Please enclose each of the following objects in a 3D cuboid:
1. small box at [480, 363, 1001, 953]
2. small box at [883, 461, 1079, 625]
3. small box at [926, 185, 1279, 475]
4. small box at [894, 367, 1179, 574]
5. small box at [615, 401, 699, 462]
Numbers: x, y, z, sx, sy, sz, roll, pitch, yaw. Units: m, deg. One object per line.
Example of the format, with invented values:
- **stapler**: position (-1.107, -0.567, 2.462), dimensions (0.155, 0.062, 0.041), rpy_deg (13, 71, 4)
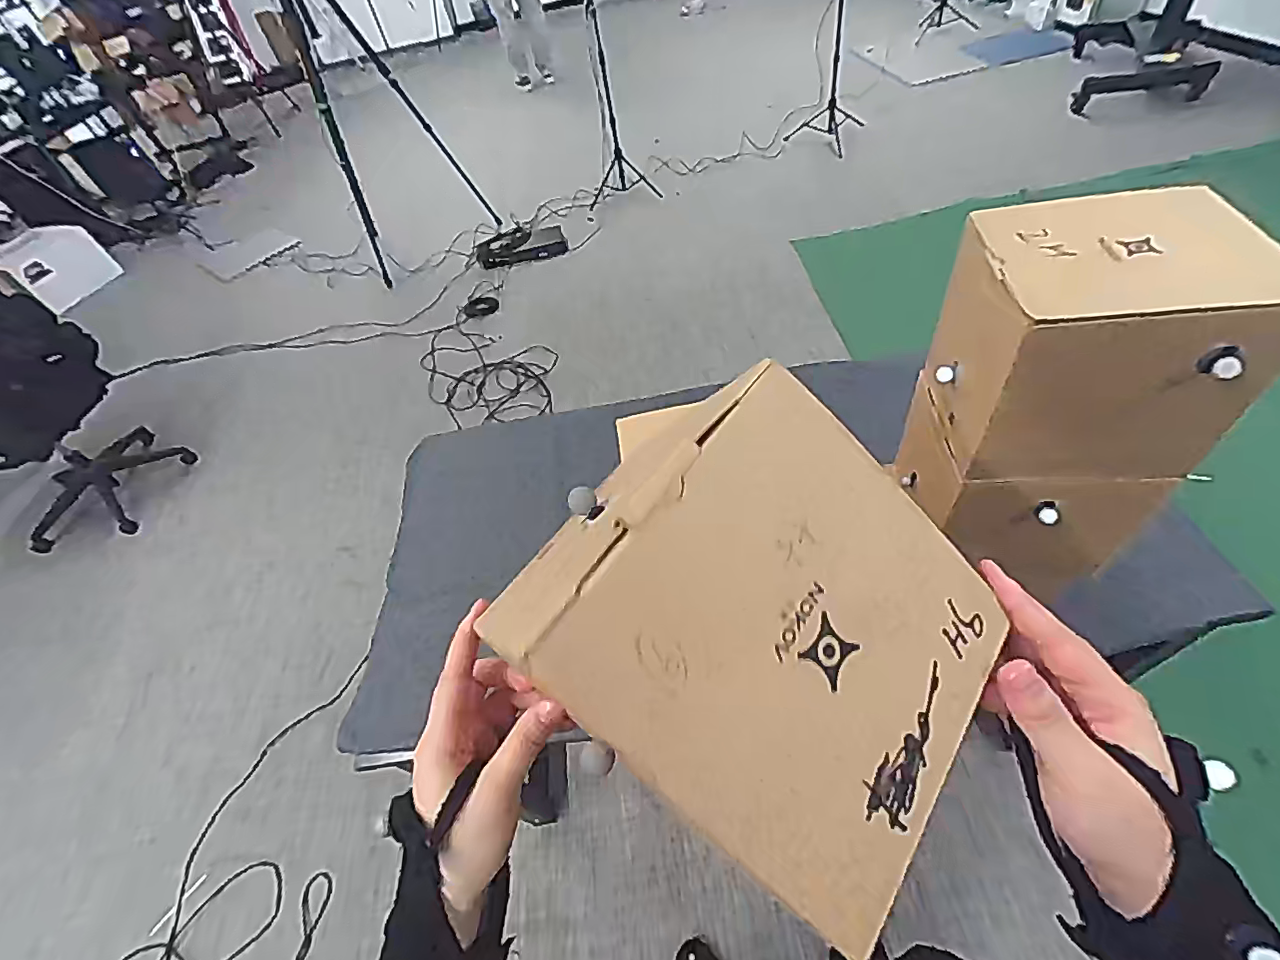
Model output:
- **small box**: position (0.035, 0.076, 0.290), dimensions (0.179, 0.176, 0.168), rpy_deg (43, 69, -9)
- **small box**: position (0.418, 0.081, 0.712), dimensions (0.168, 0.176, 0.179), rpy_deg (-11, 50, 4)
- **small box**: position (0.367, -0.117, 0.457), dimensions (0.179, 0.176, 0.168), rpy_deg (-1, 50, 13)
- **small box**: position (0.392, -0.010, 0.580), dimensions (0.179, 0.176, 0.168), rpy_deg (-3, 50, 12)
- **small box**: position (0.077, 0.028, 0.613), dimensions (0.179, 0.176, 0.168), rpy_deg (-11, 49, 4)
